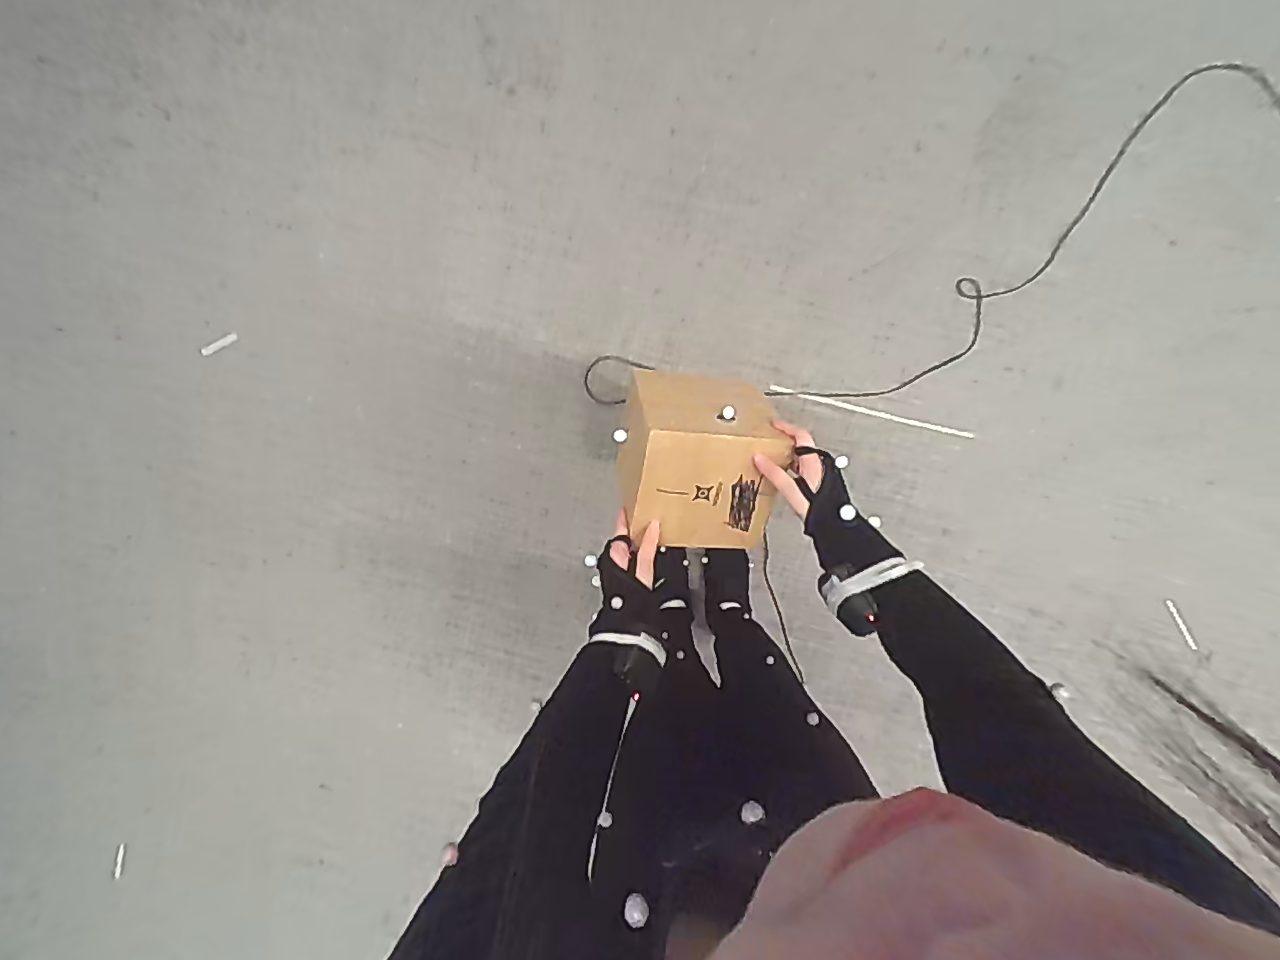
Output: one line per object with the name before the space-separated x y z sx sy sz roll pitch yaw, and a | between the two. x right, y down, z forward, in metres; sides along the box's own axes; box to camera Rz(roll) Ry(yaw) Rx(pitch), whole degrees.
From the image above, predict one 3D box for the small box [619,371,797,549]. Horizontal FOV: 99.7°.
small box | 0.073 -0.030 0.707 0.179 0.176 0.168 5 124 -10
